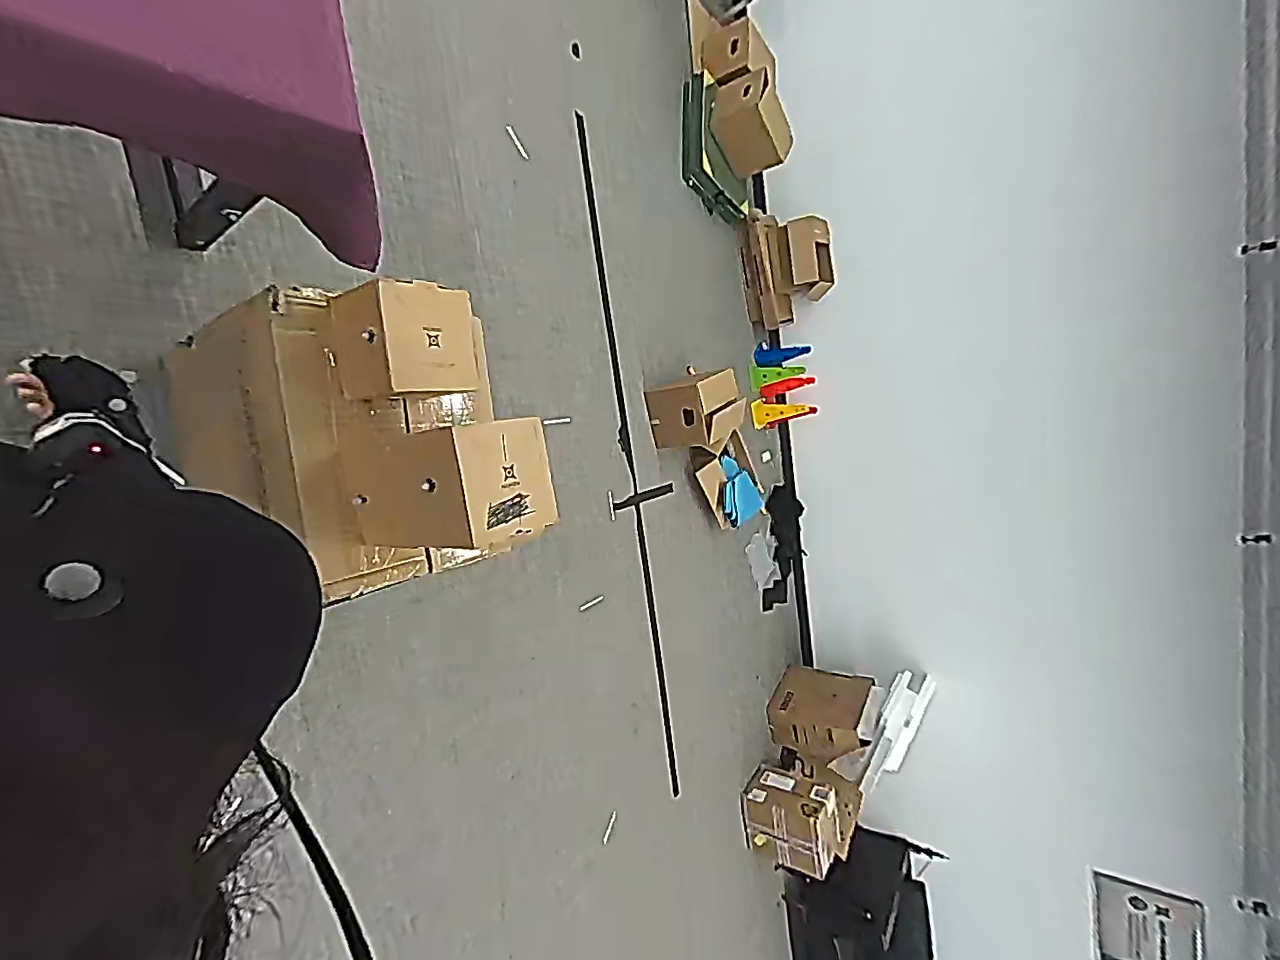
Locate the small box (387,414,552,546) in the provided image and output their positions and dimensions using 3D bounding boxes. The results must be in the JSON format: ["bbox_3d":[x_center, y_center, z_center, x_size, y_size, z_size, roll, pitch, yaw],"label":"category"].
[{"bbox_3d":[-0.265,-0.003,0.841,0.168,0.176,0.179,-16,99,-53],"label":"small box"}]

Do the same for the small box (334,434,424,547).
[{"bbox_3d":[-0.396,0.004,0.942,0.168,0.176,0.179,-24,107,-51],"label":"small box"}]
